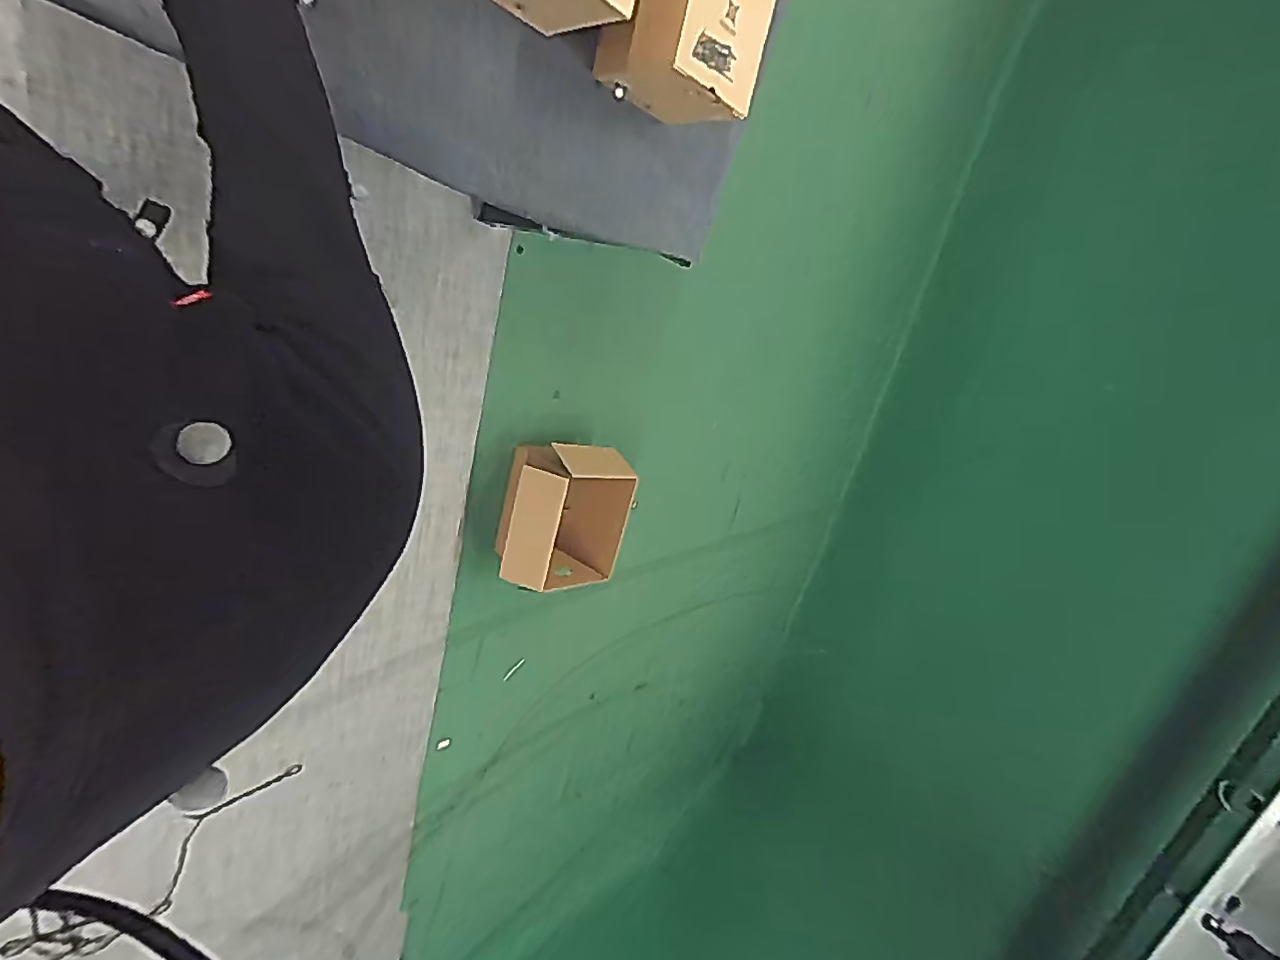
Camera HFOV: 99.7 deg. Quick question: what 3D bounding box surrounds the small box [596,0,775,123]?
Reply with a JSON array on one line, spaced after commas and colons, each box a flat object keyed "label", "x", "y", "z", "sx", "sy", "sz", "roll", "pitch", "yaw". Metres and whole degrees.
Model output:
[{"label": "small box", "x": 0.059, "y": -0.629, "z": 0.759, "sx": 0.168, "sy": 0.176, "sz": 0.179, "roll": -5, "pitch": 115, "yaw": -47}]

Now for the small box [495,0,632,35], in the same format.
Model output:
[{"label": "small box", "x": -0.105, "y": -0.626, "z": 0.582, "sx": 0.168, "sy": 0.176, "sz": 0.179, "roll": -5, "pitch": 115, "yaw": -46}]
